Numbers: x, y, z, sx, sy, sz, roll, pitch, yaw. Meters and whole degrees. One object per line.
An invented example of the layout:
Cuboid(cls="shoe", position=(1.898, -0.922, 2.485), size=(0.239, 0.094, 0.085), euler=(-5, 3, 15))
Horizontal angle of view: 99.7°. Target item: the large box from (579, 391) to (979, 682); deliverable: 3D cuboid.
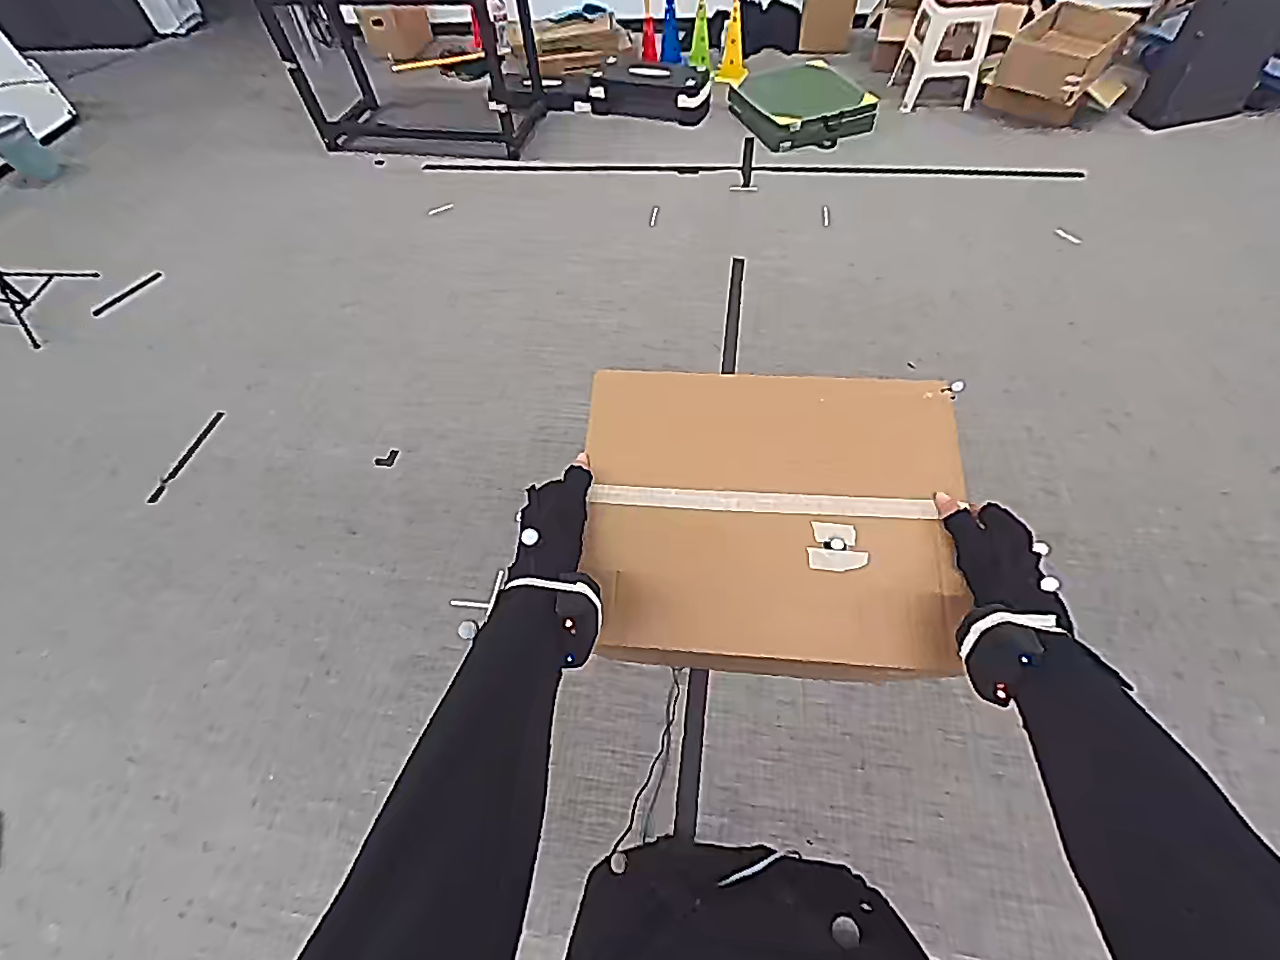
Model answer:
Cuboid(cls="large box", position=(0.148, 0.095, 0.730), size=(0.408, 0.320, 0.320), euler=(3, 69, 4))
